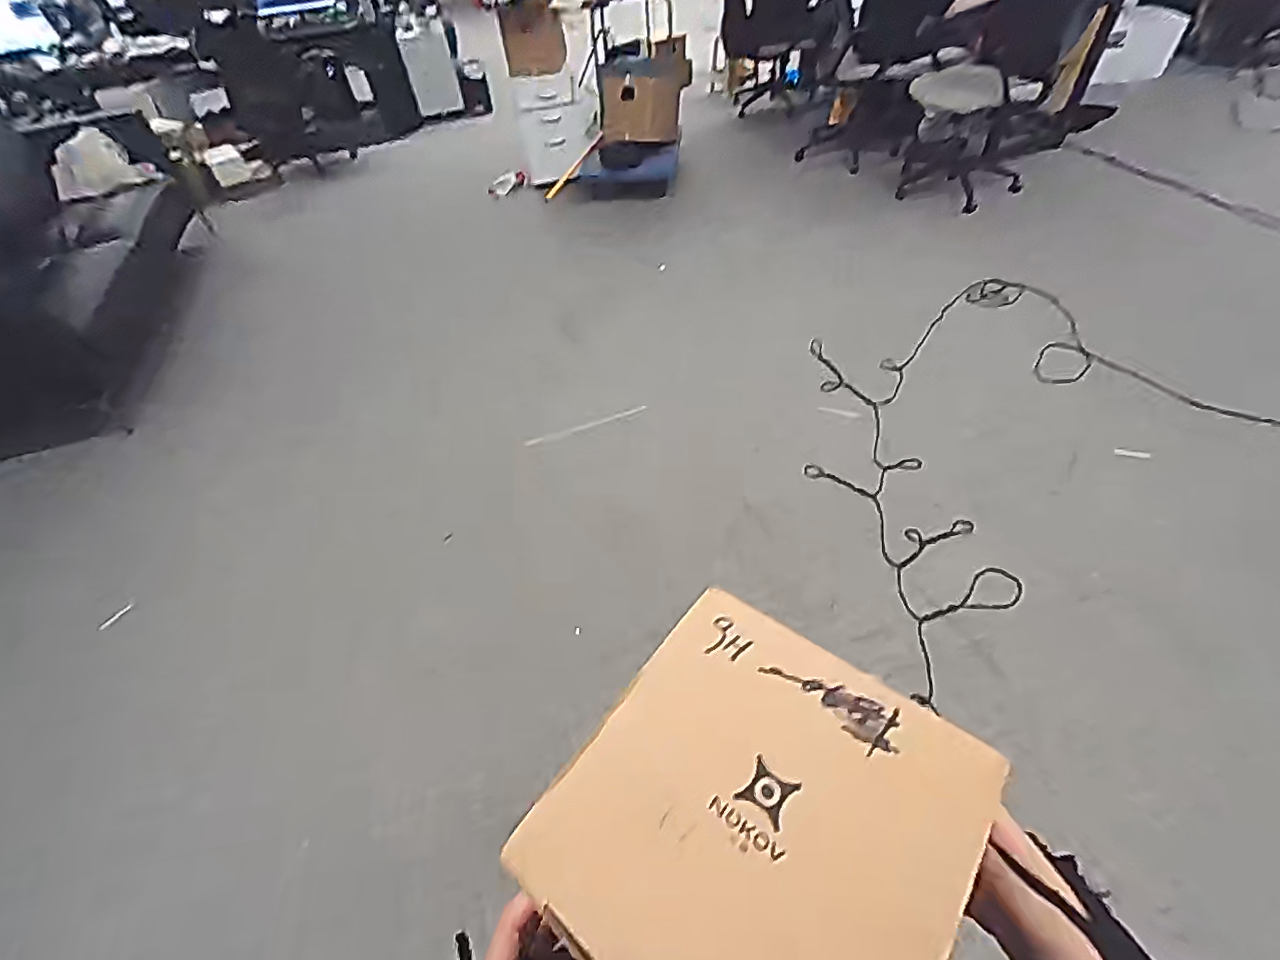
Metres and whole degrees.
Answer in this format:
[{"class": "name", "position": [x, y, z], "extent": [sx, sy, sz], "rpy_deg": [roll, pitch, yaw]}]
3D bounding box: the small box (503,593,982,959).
[{"class": "small box", "position": [0.058, 0.209, 0.314], "extent": [0.168, 0.176, 0.179], "rpy_deg": [27, 56, 29]}]
